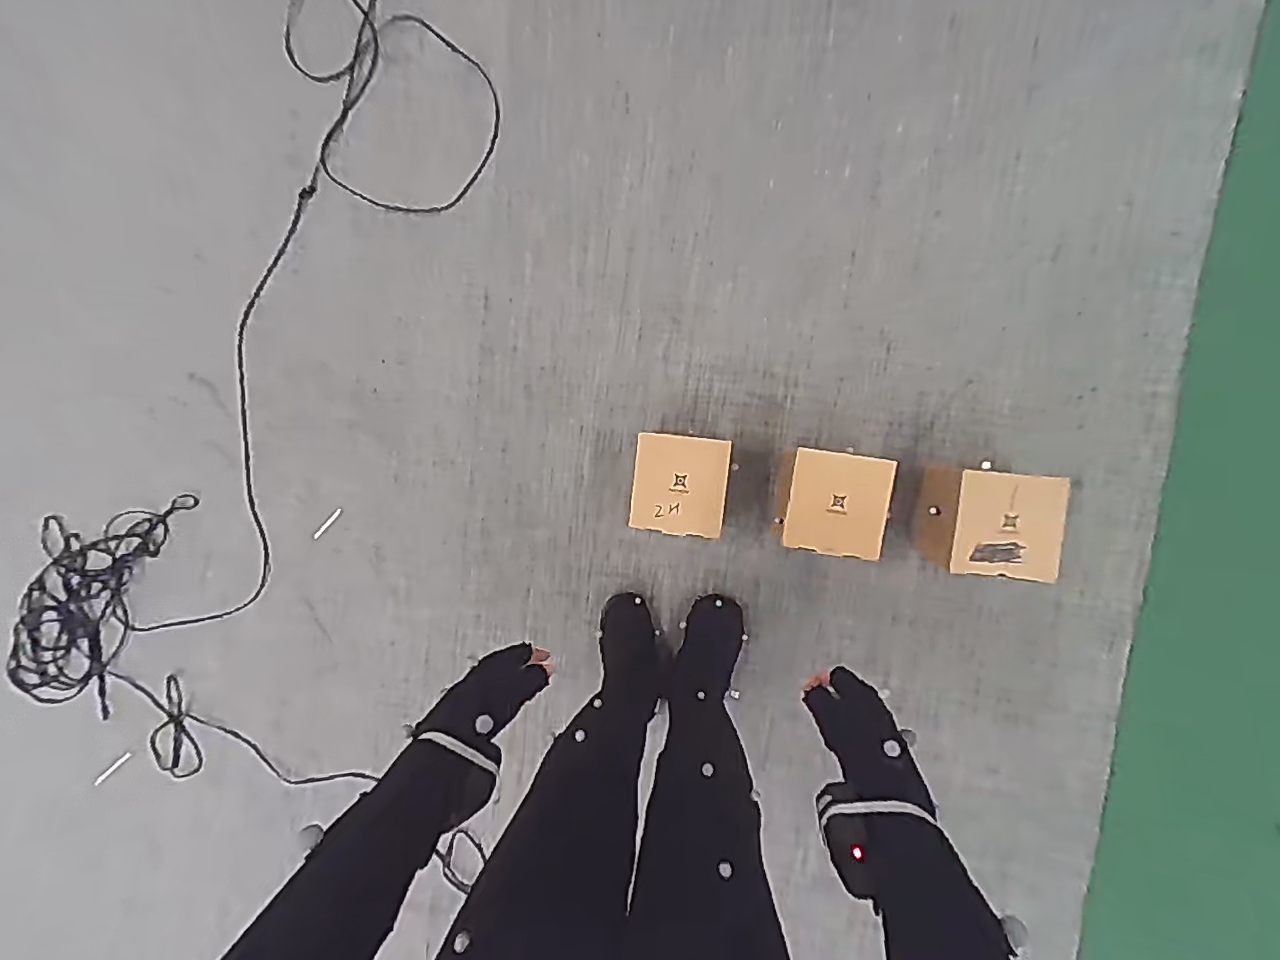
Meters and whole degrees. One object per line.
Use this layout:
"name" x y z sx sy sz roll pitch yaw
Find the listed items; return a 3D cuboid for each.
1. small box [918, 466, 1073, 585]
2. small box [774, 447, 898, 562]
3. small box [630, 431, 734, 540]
"small box" 0.611 0.071 0.955 0.168 0.176 0.179 5 94 8
"small box" 0.347 0.037 0.991 0.168 0.176 0.179 9 95 7
"small box" 0.083 0.004 1.024 0.168 0.176 0.179 7 95 9
